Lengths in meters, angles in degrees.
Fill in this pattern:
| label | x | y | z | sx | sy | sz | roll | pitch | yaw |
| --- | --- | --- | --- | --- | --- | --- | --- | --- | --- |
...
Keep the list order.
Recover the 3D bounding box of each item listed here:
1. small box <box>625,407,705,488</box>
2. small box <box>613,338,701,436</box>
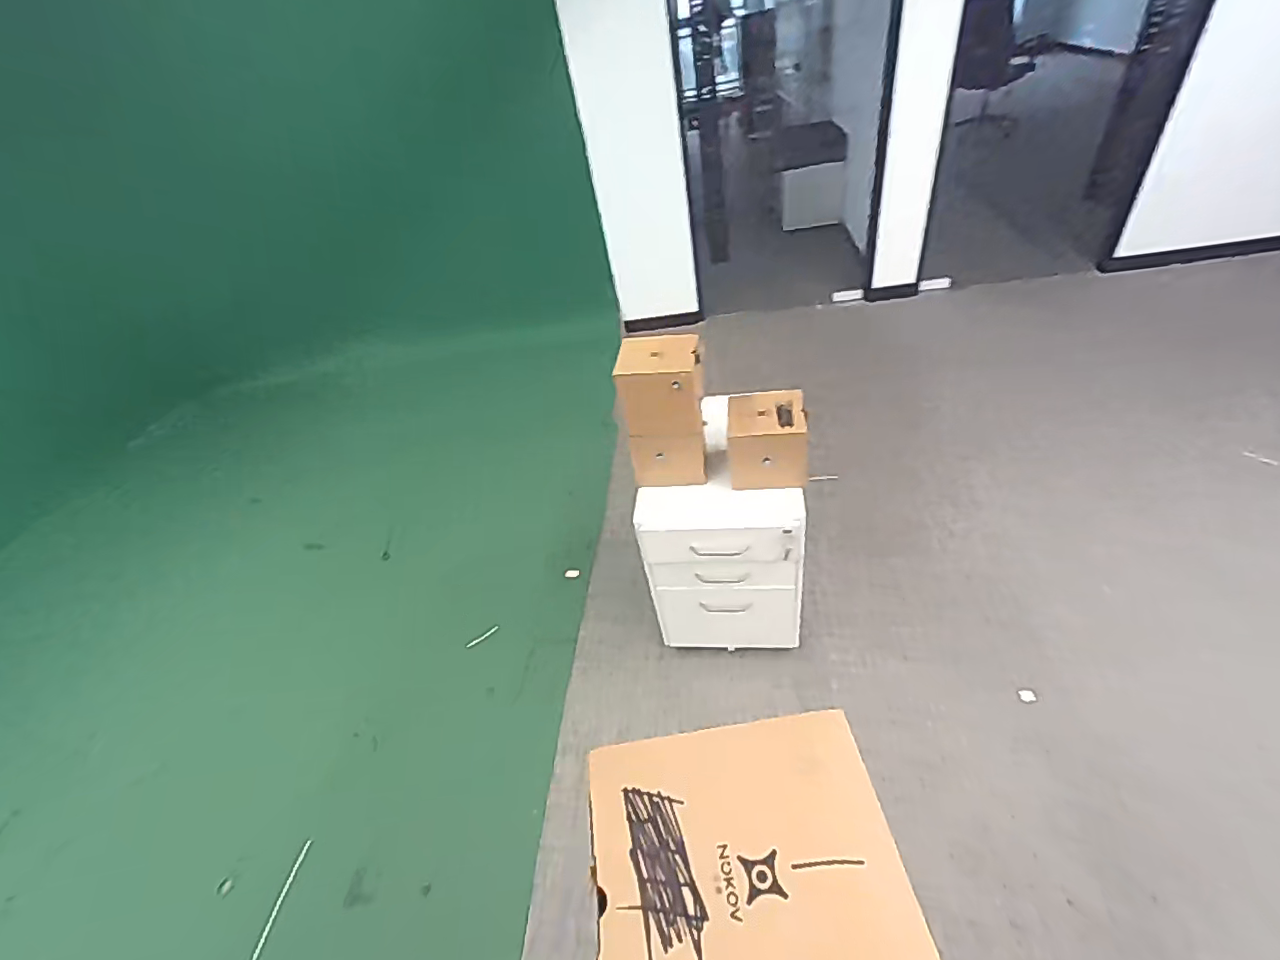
| label | x | y | z | sx | sy | sz | roll | pitch | yaw |
| --- | --- | --- | --- | --- | --- | --- | --- | --- | --- |
| small box | 0.070 | -0.093 | 1.368 | 0.179 | 0.176 | 0.168 | -3 | 42 | 10 |
| small box | 0.046 | -0.213 | 1.259 | 0.179 | 0.176 | 0.168 | 0 | 42 | 10 |
